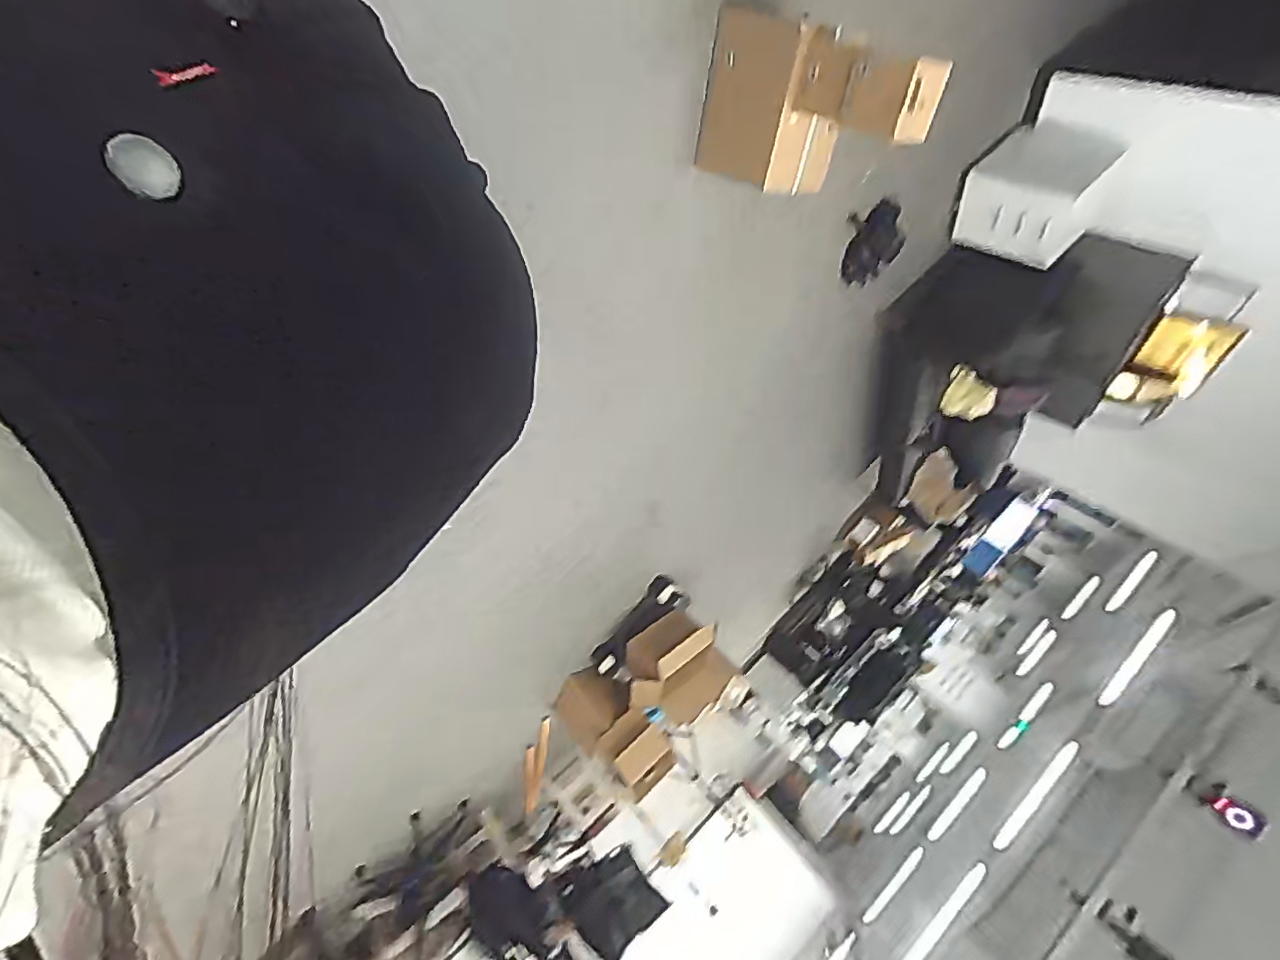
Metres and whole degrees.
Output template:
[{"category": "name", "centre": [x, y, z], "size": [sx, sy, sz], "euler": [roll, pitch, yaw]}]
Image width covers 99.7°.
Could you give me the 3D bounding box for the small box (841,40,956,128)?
[{"category": "small box", "centre": [0.640, -0.994, 1.359], "size": [0.179, 0.176, 0.168], "euler": [-25, 138, -29]}]

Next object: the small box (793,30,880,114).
[{"category": "small box", "centre": [0.549, -1.091, 1.457], "size": [0.179, 0.176, 0.168], "euler": [-19, 135, -35]}]
